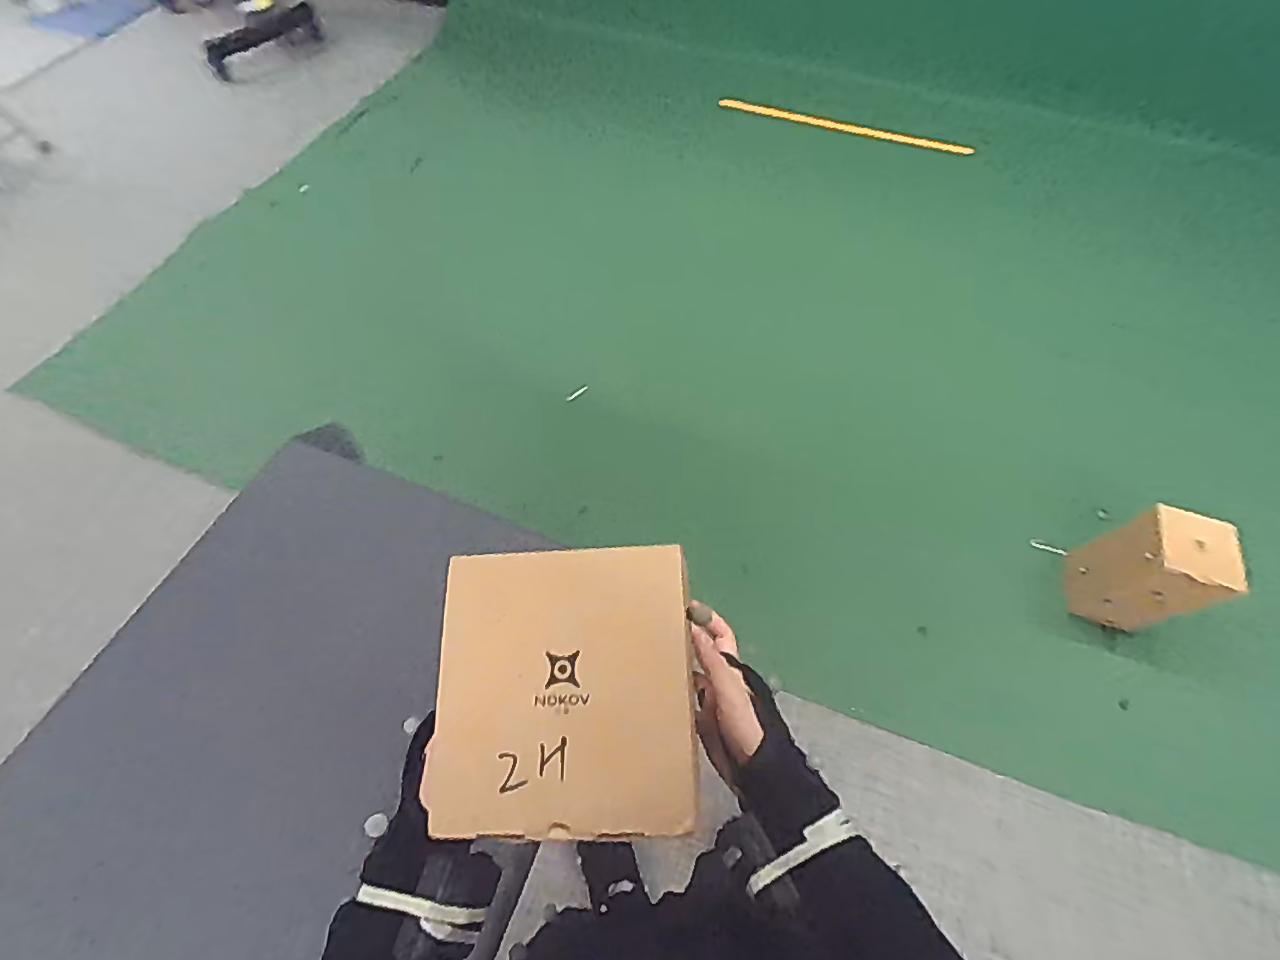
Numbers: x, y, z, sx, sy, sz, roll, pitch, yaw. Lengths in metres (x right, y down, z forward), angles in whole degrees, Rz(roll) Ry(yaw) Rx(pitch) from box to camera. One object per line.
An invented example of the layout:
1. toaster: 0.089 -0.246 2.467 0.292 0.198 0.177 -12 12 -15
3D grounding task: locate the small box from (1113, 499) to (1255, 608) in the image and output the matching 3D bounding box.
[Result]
1. small box: 1.272 0.177 1.282 0.168 0.176 0.179 17 61 10

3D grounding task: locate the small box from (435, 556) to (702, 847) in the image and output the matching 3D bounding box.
1. small box: -0.038 0.165 0.429 0.168 0.176 0.179 -4 70 7
